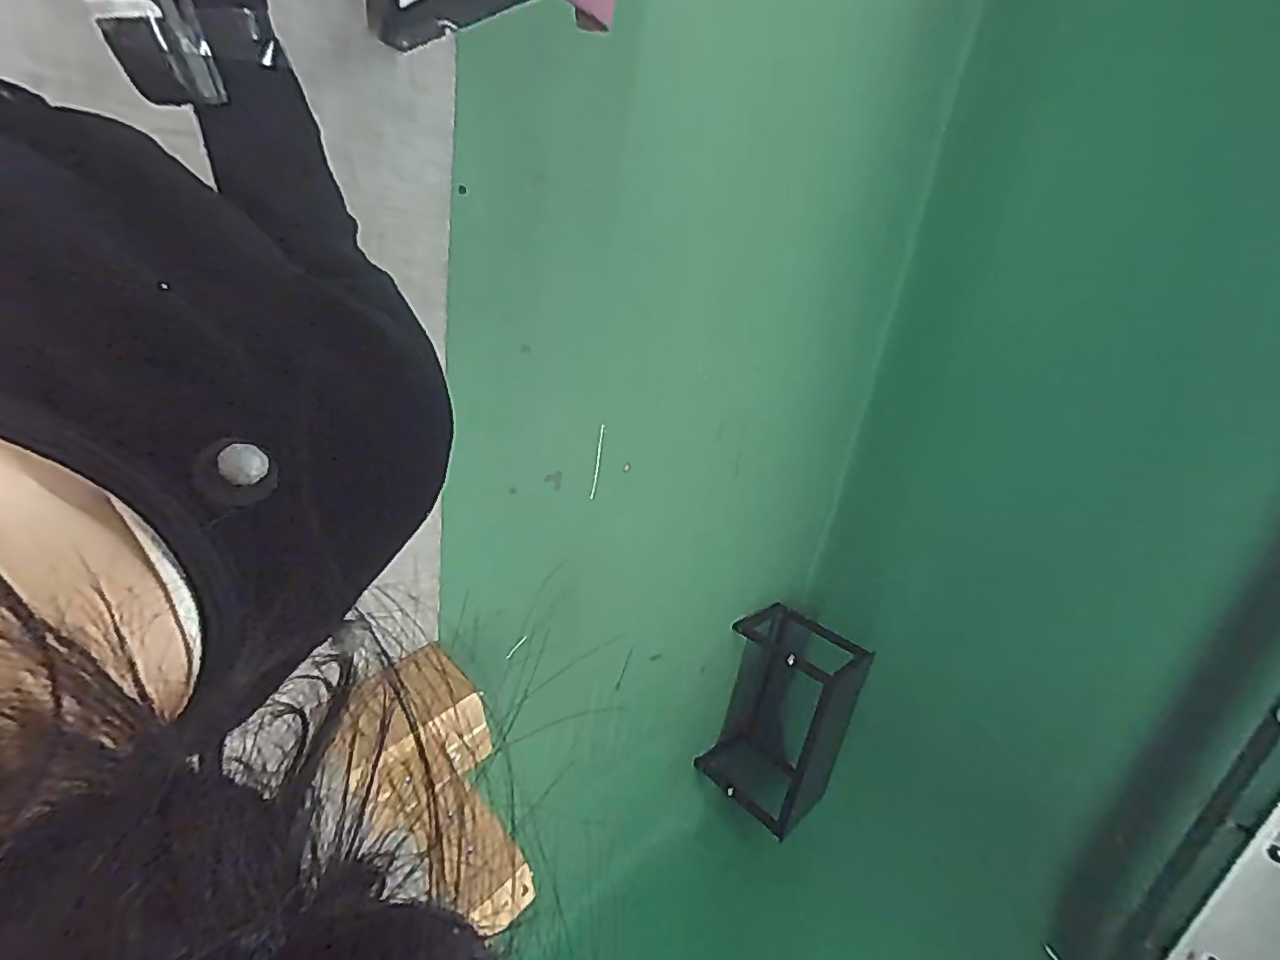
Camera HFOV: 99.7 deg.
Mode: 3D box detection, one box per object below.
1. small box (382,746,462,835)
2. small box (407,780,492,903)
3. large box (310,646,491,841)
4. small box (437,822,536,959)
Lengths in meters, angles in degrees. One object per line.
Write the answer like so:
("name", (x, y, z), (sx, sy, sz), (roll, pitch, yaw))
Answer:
("small box", (-0.616, 0.904, 1.555), (0.168, 0.176, 0.179), (-25, 126, -38))
("small box", (-0.504, 0.960, 1.450), (0.179, 0.176, 0.168), (-27, 127, -37))
("large box", (-0.757, 0.822, 1.742), (0.408, 0.320, 0.320), (-27, 129, -38))
("small box", (-0.387, 1.014, 1.348), (0.179, 0.176, 0.168), (-25, 126, -37))
